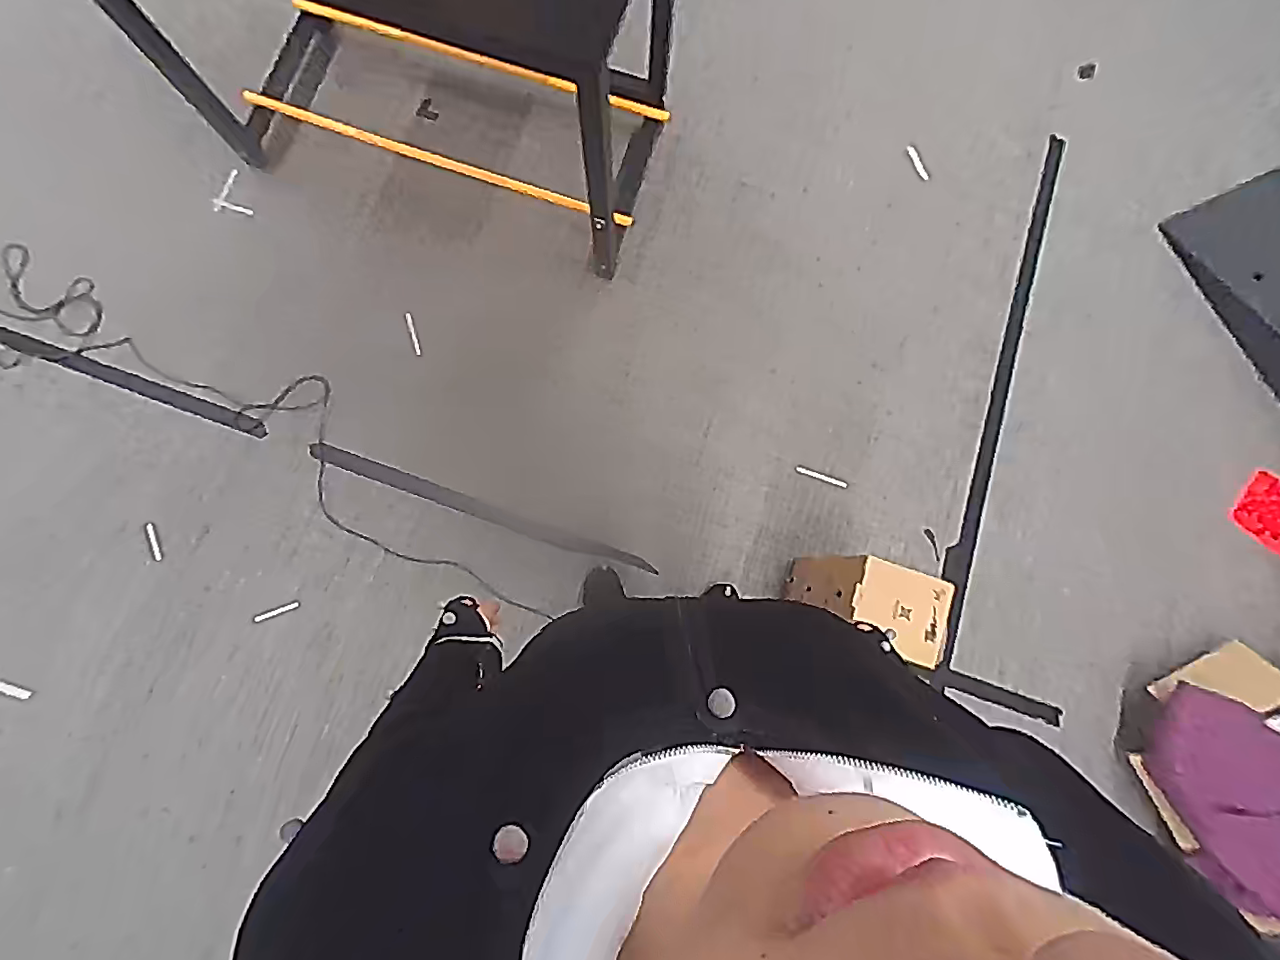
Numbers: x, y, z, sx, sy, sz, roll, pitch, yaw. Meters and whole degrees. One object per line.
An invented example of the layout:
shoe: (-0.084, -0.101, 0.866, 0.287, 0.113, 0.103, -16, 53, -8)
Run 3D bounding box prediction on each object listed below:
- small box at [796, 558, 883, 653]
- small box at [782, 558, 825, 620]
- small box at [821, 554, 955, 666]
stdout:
small box: (0.490, 0.288, 1.261, 0.179, 0.176, 0.168, 19, 80, 2)
small box: (0.497, 0.310, 1.425, 0.179, 0.176, 0.168, 18, 80, 3)
small box: (0.493, 0.260, 1.100, 0.179, 0.176, 0.168, 20, 80, 2)
